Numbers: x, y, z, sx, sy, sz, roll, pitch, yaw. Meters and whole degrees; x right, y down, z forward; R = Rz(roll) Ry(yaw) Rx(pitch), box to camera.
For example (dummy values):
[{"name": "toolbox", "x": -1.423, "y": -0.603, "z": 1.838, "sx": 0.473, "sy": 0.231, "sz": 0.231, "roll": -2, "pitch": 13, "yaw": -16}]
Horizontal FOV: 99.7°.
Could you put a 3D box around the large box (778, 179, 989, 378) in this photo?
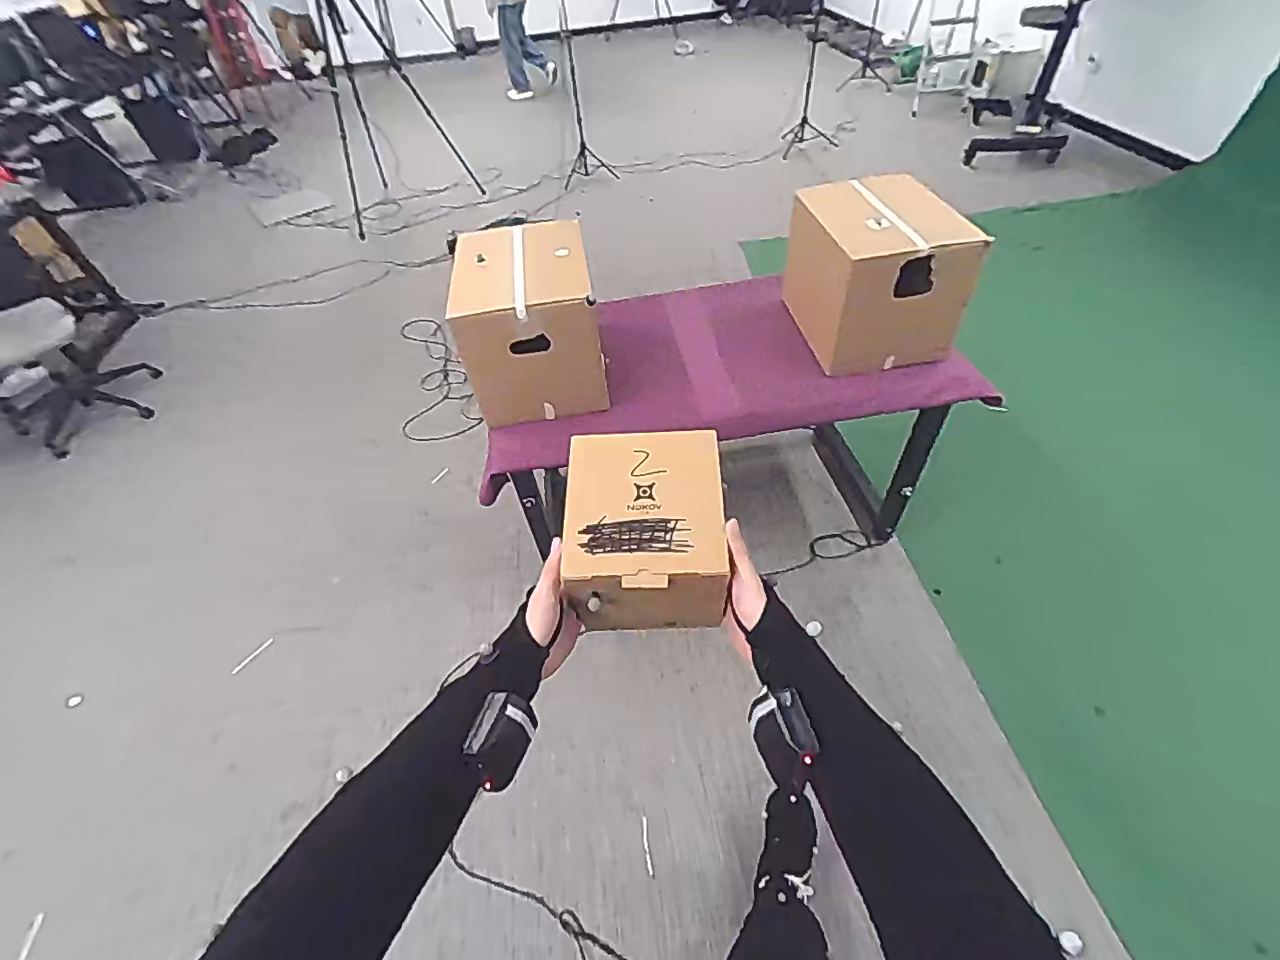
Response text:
[{"name": "large box", "x": 0.581, "y": -0.523, "z": 1.393, "sx": 0.320, "sy": 0.320, "sz": 0.408, "roll": -9, "pitch": 49, "yaw": -2}]
